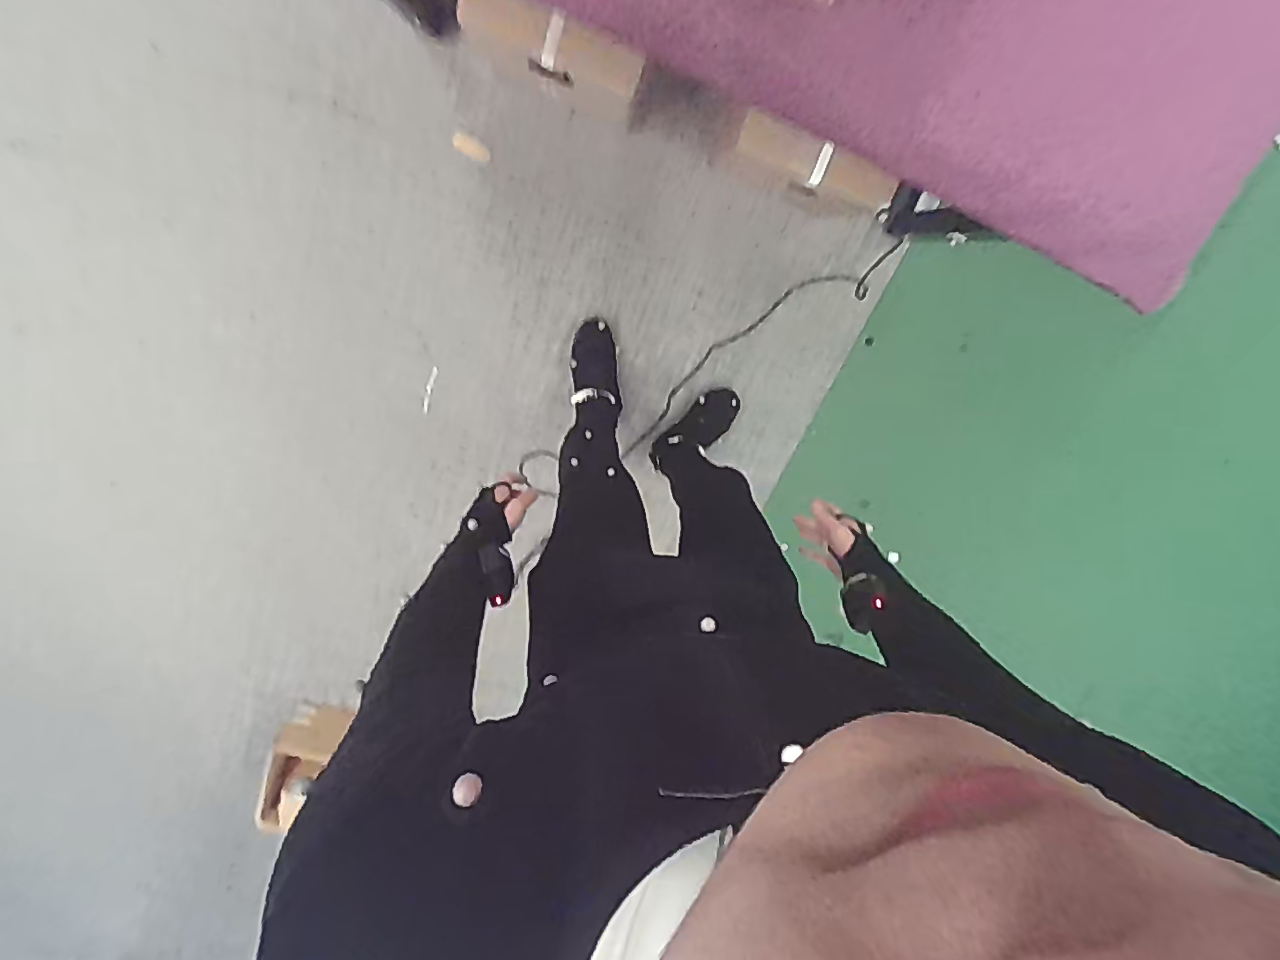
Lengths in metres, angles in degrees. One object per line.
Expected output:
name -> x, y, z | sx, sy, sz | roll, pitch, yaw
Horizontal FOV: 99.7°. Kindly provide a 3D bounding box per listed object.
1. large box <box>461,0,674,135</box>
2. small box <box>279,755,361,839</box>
large box -> -0.090, -0.926, 0.977 | 0.320, 0.320, 0.408 | 19, 110, -10
small box -> -1.074, 1.063, 1.822 | 0.179, 0.176, 0.168 | 16, 111, -9
